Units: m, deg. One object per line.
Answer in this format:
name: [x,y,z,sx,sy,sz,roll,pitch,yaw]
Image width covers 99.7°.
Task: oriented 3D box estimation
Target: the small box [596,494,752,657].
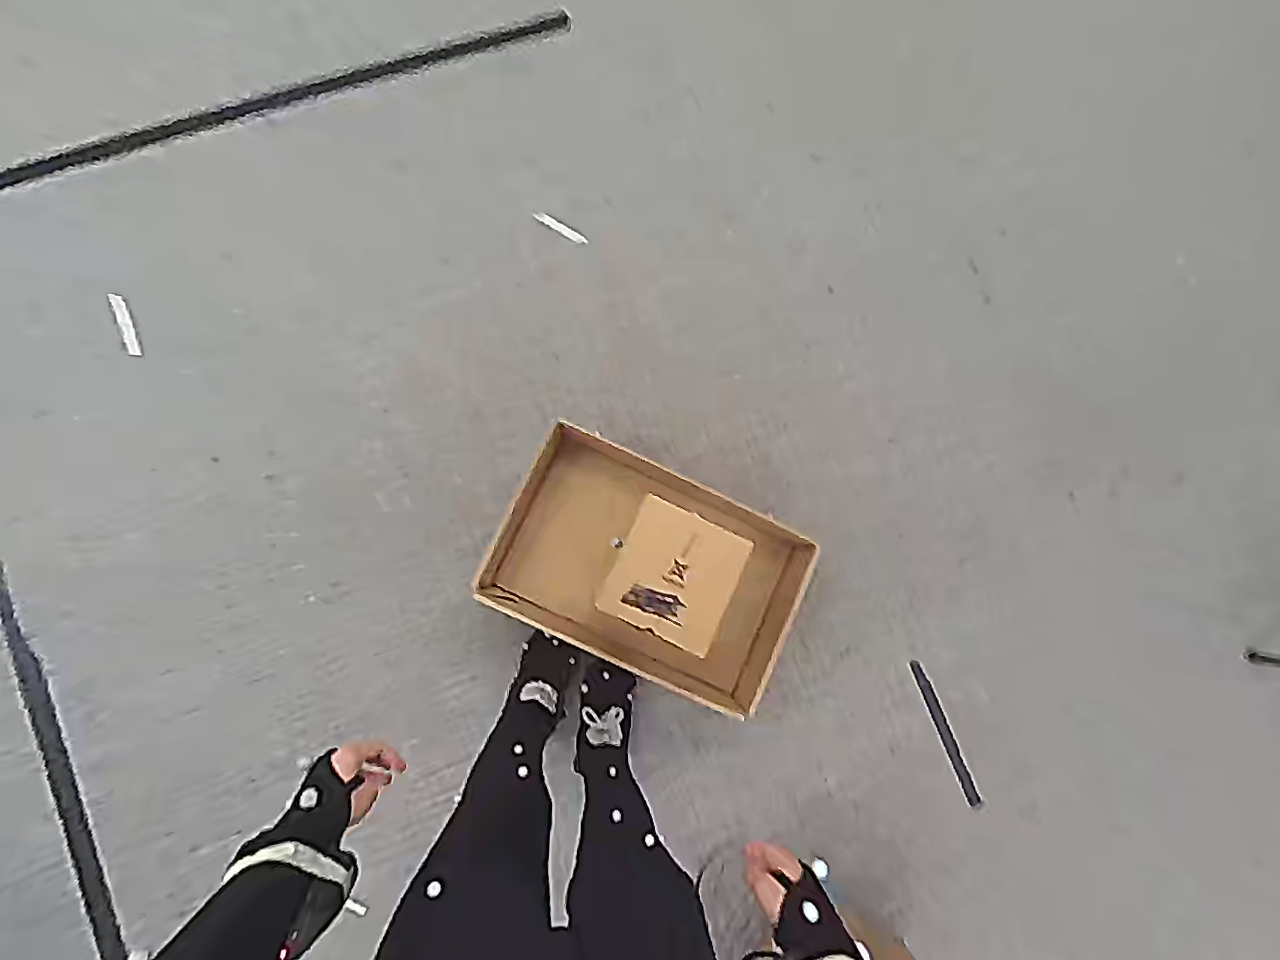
small box: [0.045,0.140,0.824,0.168,0.176,0.179,26,81,-1]
